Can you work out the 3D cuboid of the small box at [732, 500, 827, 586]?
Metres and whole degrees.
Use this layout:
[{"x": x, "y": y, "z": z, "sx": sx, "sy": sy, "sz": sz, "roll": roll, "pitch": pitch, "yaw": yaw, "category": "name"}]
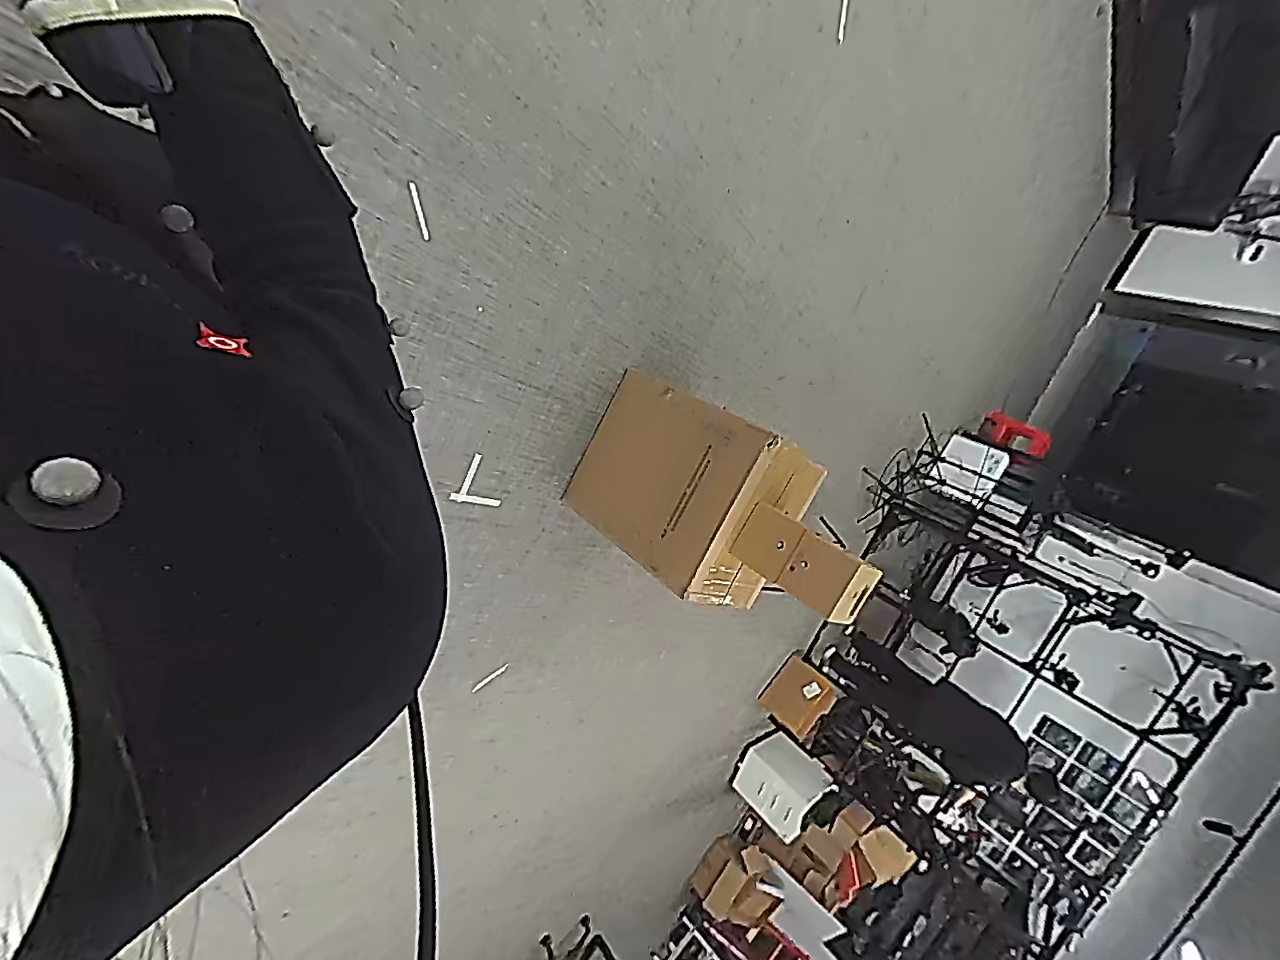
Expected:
[{"x": 0.391, "y": 0.176, "z": 1.527, "sx": 0.168, "sy": 0.176, "sz": 0.179, "roll": 22, "pitch": 100, "yaw": -49, "category": "small box"}]
